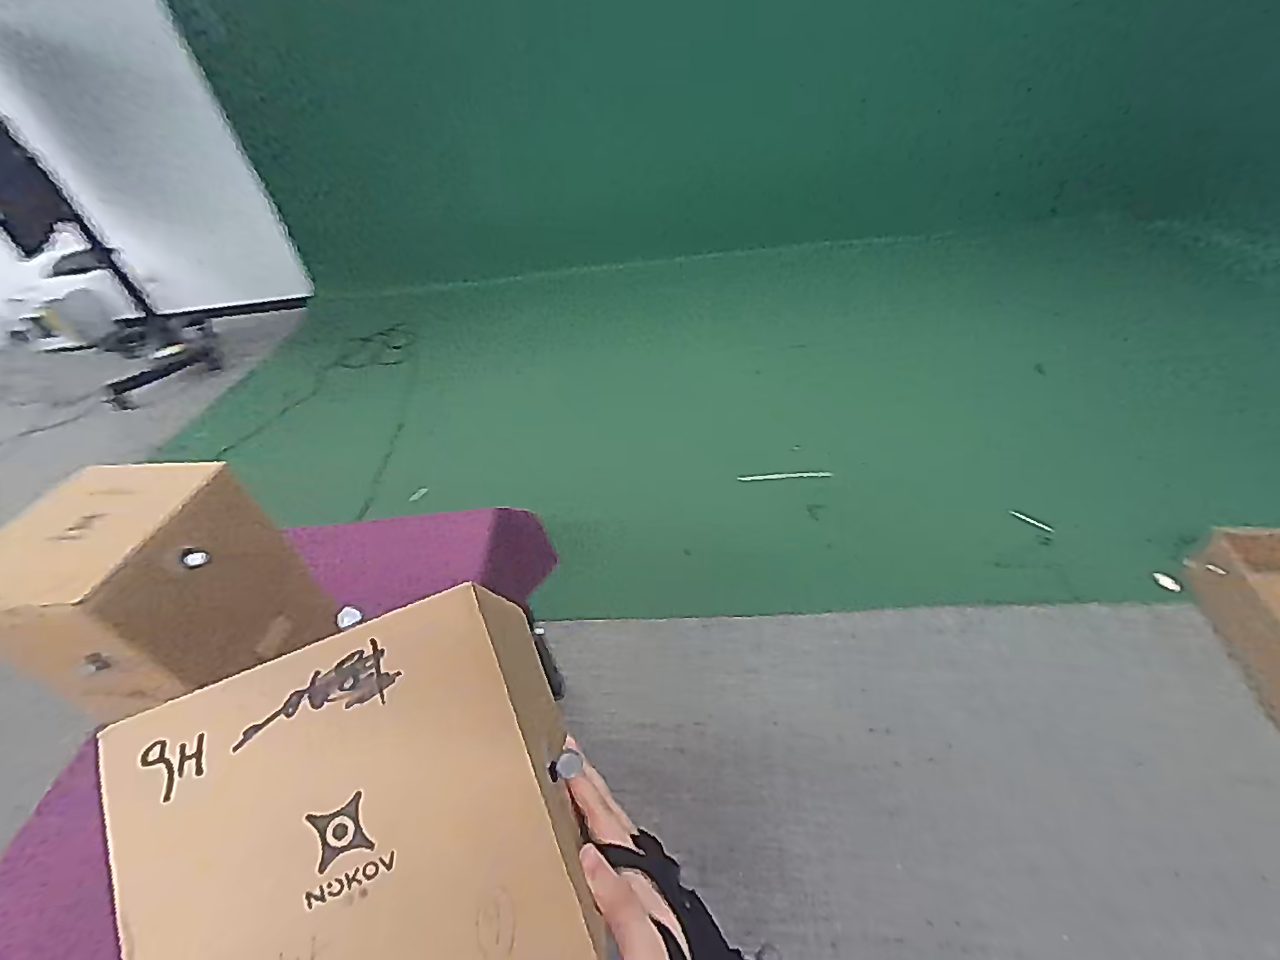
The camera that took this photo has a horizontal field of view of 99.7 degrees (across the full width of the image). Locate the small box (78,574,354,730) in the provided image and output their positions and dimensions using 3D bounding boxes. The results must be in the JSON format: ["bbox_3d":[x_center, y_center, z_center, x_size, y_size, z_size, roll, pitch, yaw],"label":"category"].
[{"bbox_3d":[-0.475,0.230,0.652,0.179,0.176,0.168,-4,42,9],"label":"small box"}]

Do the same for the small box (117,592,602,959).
[{"bbox_3d":[-0.125,0.178,0.304,0.168,0.176,0.179,-21,75,-9],"label":"small box"}]

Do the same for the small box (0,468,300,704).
[{"bbox_3d":[-0.492,0.108,0.545,0.168,0.176,0.179,-1,42,9],"label":"small box"}]
